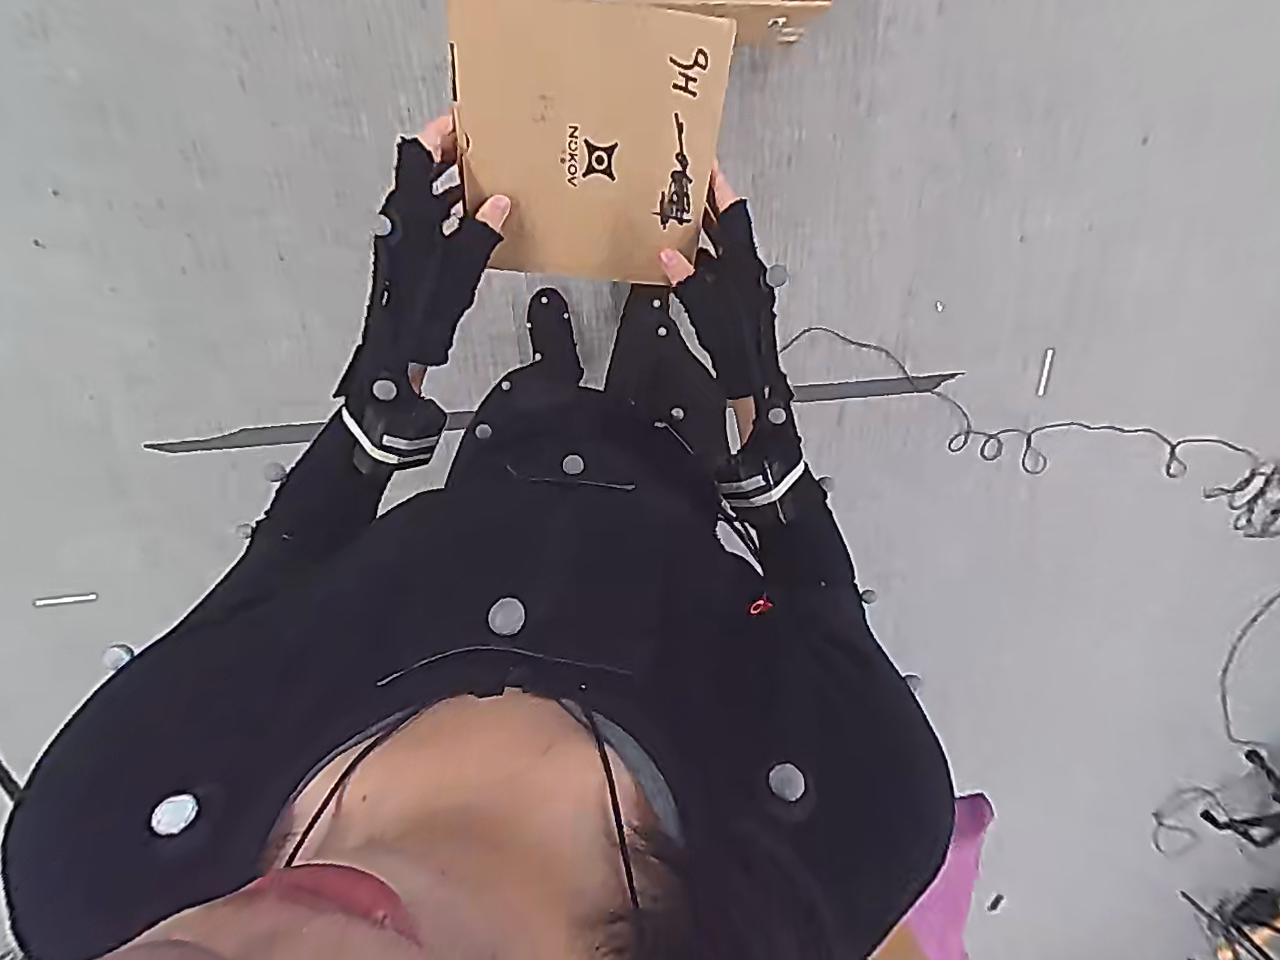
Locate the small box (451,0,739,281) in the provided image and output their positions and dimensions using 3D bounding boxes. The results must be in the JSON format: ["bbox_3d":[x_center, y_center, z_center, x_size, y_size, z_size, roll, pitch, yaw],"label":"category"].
[{"bbox_3d":[-0.038,-0.276,0.433,0.179,0.176,0.168,4,127,-6],"label":"small box"}]
